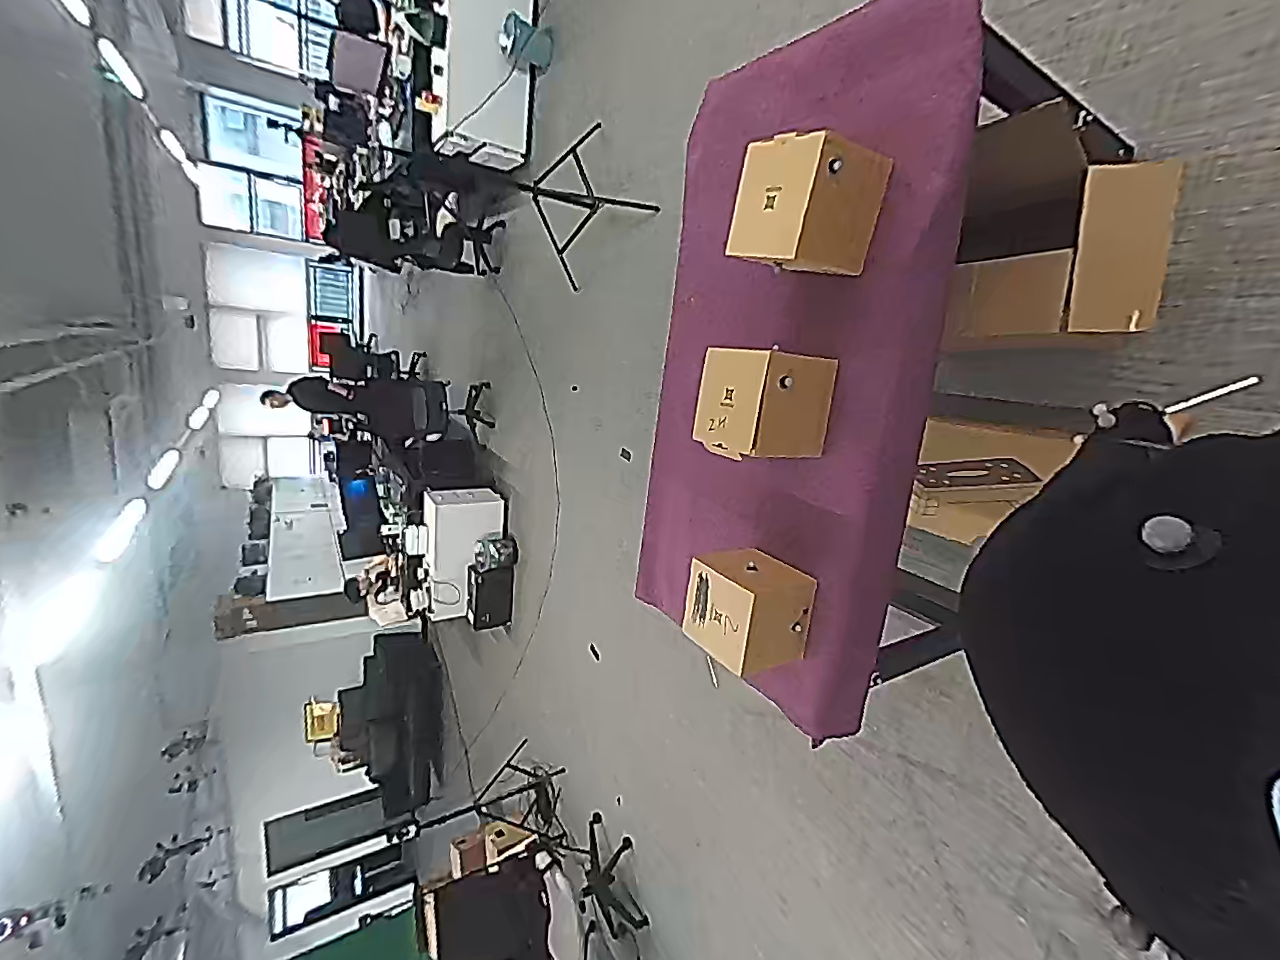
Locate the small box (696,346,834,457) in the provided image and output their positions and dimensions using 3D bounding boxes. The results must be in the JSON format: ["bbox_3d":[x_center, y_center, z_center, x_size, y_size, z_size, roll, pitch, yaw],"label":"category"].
[{"bbox_3d":[0.226,-0.143,0.983,0.168,0.176,0.179,26,114,57],"label":"small box"}]

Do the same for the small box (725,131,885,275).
[{"bbox_3d":[0.271,-0.445,0.893,0.168,0.176,0.179,35,121,51],"label":"small box"}]
